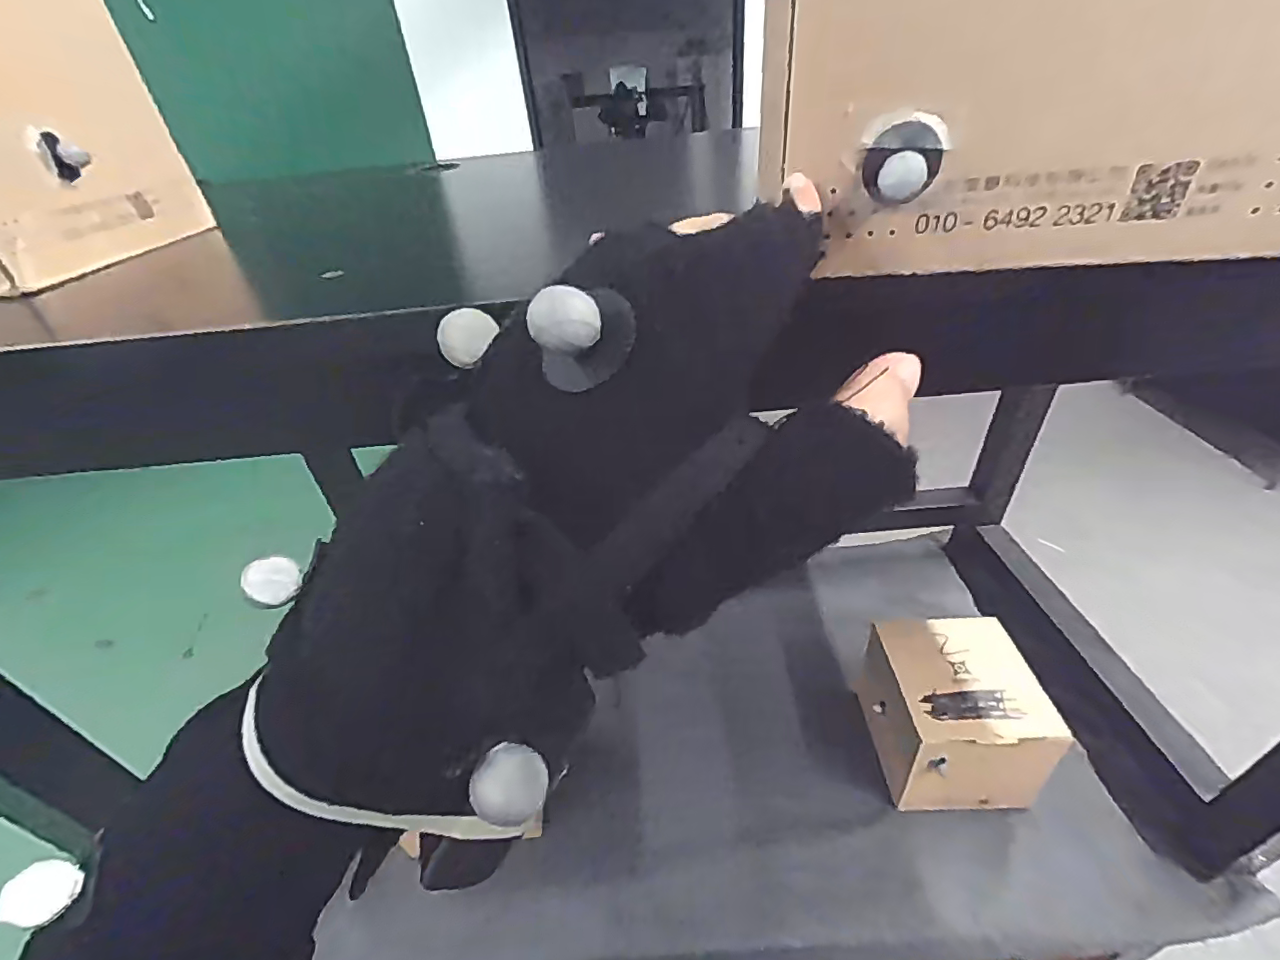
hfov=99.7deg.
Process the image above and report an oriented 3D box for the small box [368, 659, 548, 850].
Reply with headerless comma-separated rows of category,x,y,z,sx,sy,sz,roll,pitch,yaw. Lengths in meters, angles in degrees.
small box,-0.230,0.374,0.736,0.179,0.176,0.168,-7,36,-2
